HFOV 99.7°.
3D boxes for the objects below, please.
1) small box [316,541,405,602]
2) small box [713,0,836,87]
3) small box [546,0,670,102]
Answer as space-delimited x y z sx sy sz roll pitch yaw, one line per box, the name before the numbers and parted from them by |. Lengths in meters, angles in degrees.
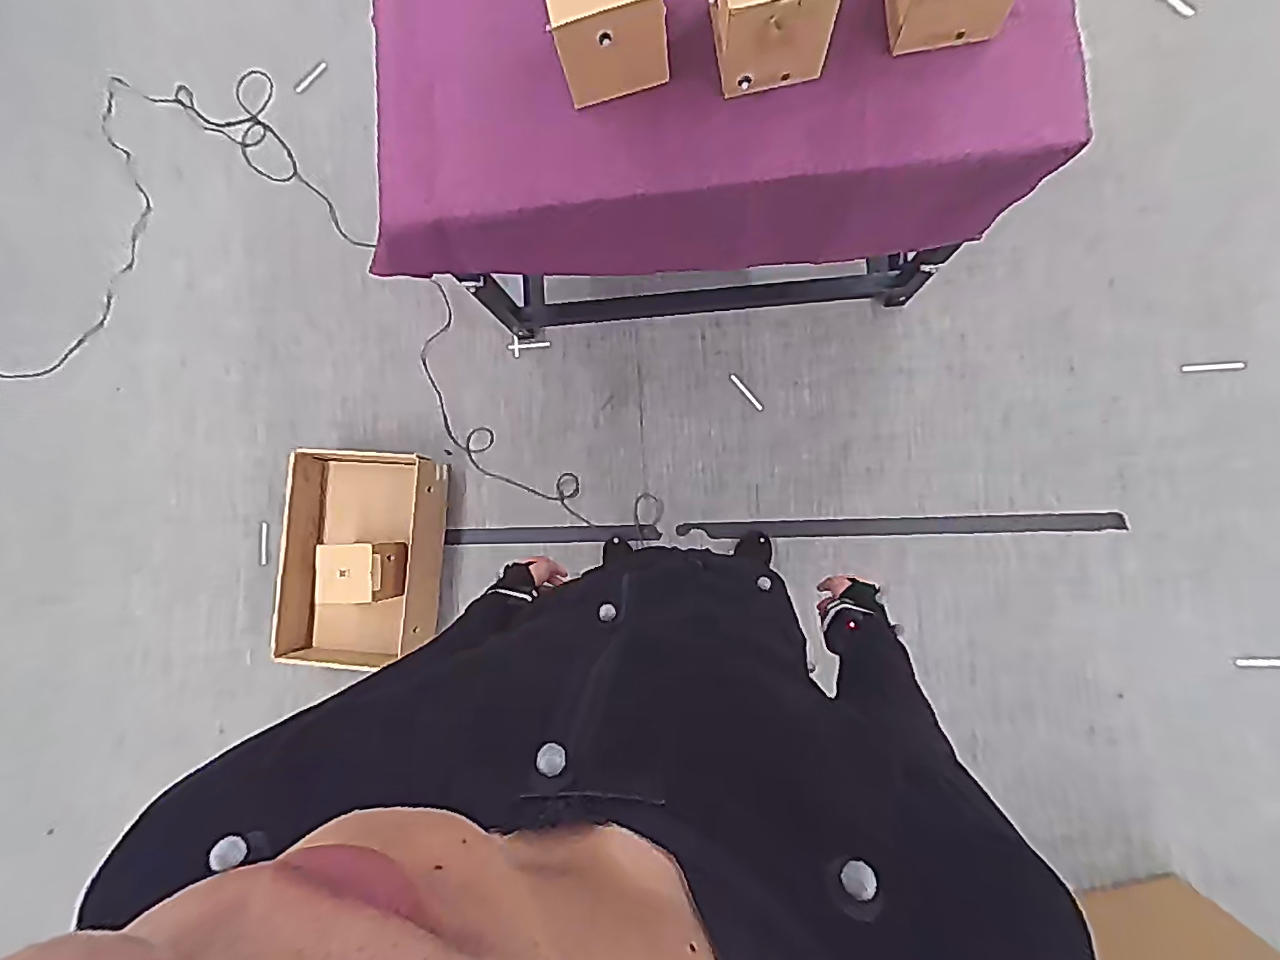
small box | -0.814 0.264 1.589 0.179 0.176 0.168 -2 84 6
small box | 0.209 -0.768 0.860 0.168 0.176 0.179 -8 84 6
small box | -0.055 -0.770 0.889 0.179 0.176 0.168 -12 85 5
